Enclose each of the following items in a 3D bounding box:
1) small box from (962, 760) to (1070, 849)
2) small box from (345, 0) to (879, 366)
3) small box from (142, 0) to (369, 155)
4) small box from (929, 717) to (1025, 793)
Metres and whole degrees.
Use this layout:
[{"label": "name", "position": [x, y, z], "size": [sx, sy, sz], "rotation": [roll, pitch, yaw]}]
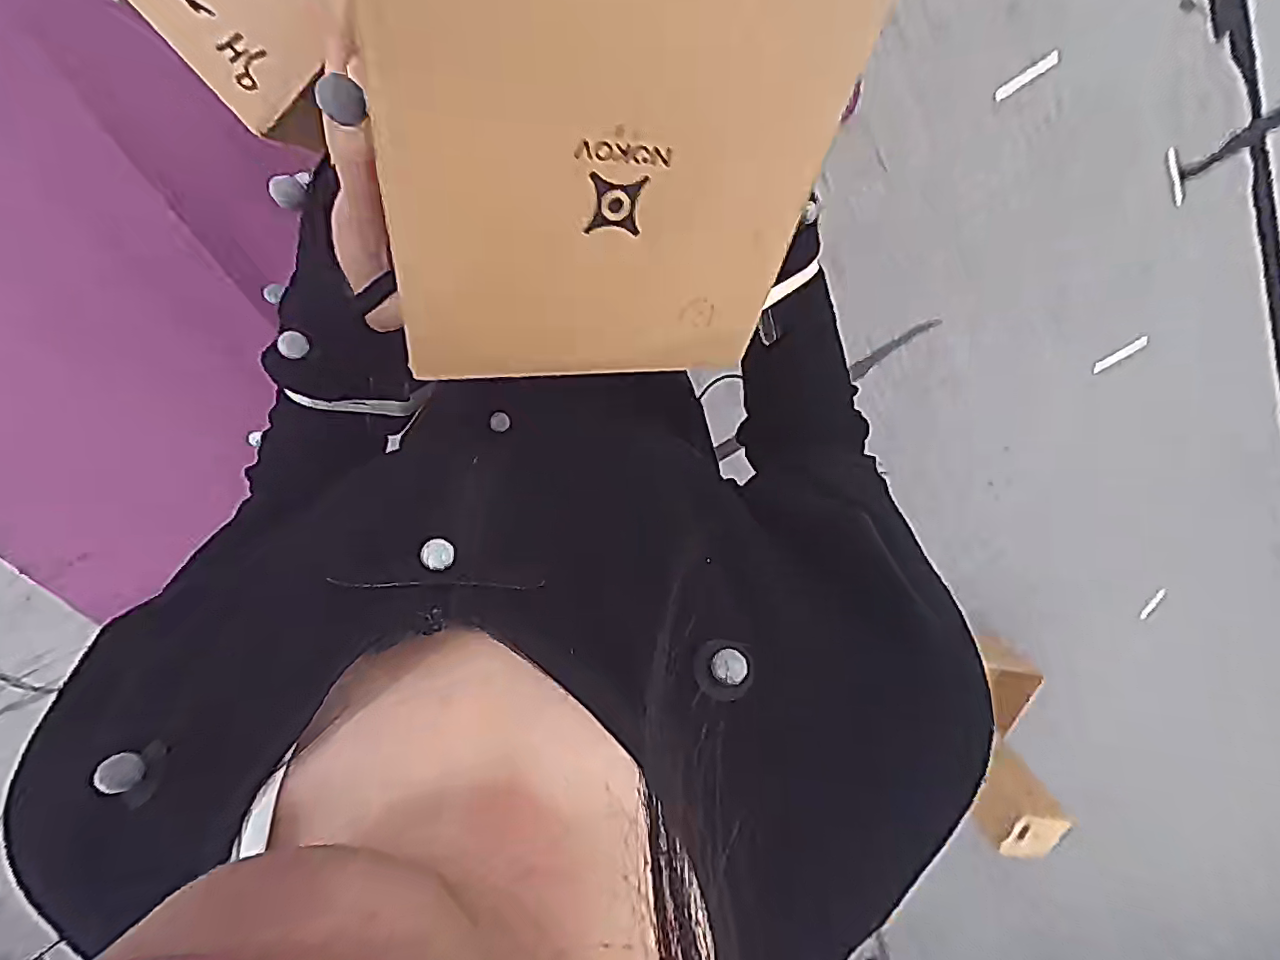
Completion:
[{"label": "small box", "position": [1.124, 0.976, 1.635], "size": [0.179, 0.176, 0.168], "rotation": [10, 113, -11]}, {"label": "small box", "position": [-0.031, -0.174, 0.251], "size": [0.168, 0.176, 0.179], "rotation": [-5, 141, -17]}, {"label": "small box", "position": [-0.210, -0.345, 0.341], "size": [0.179, 0.176, 0.168], "rotation": [-37, 112, 12]}, {"label": "small box", "position": [1.105, 0.909, 1.784], "size": [0.179, 0.176, 0.168], "rotation": [12, 112, -10]}]
